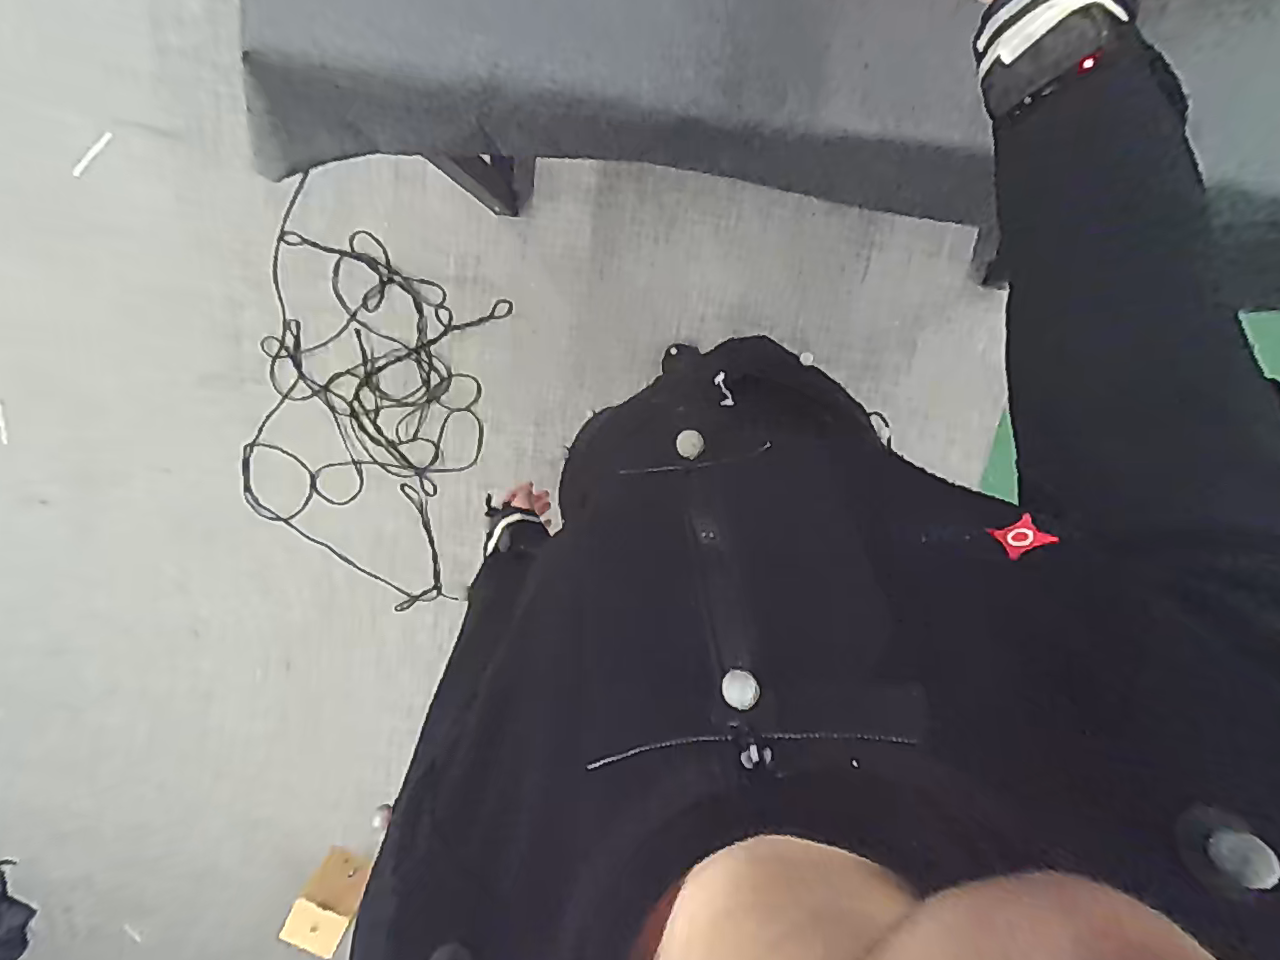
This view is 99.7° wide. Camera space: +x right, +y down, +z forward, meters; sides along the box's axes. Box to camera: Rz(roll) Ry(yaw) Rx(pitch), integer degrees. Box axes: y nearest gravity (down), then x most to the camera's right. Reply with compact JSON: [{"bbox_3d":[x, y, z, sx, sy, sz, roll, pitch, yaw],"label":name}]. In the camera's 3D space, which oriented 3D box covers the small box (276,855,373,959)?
[{"bbox_3d":[-0.936,1.285,1.619,0.168,0.176,0.179,27,102,-3],"label":"small box"}]
